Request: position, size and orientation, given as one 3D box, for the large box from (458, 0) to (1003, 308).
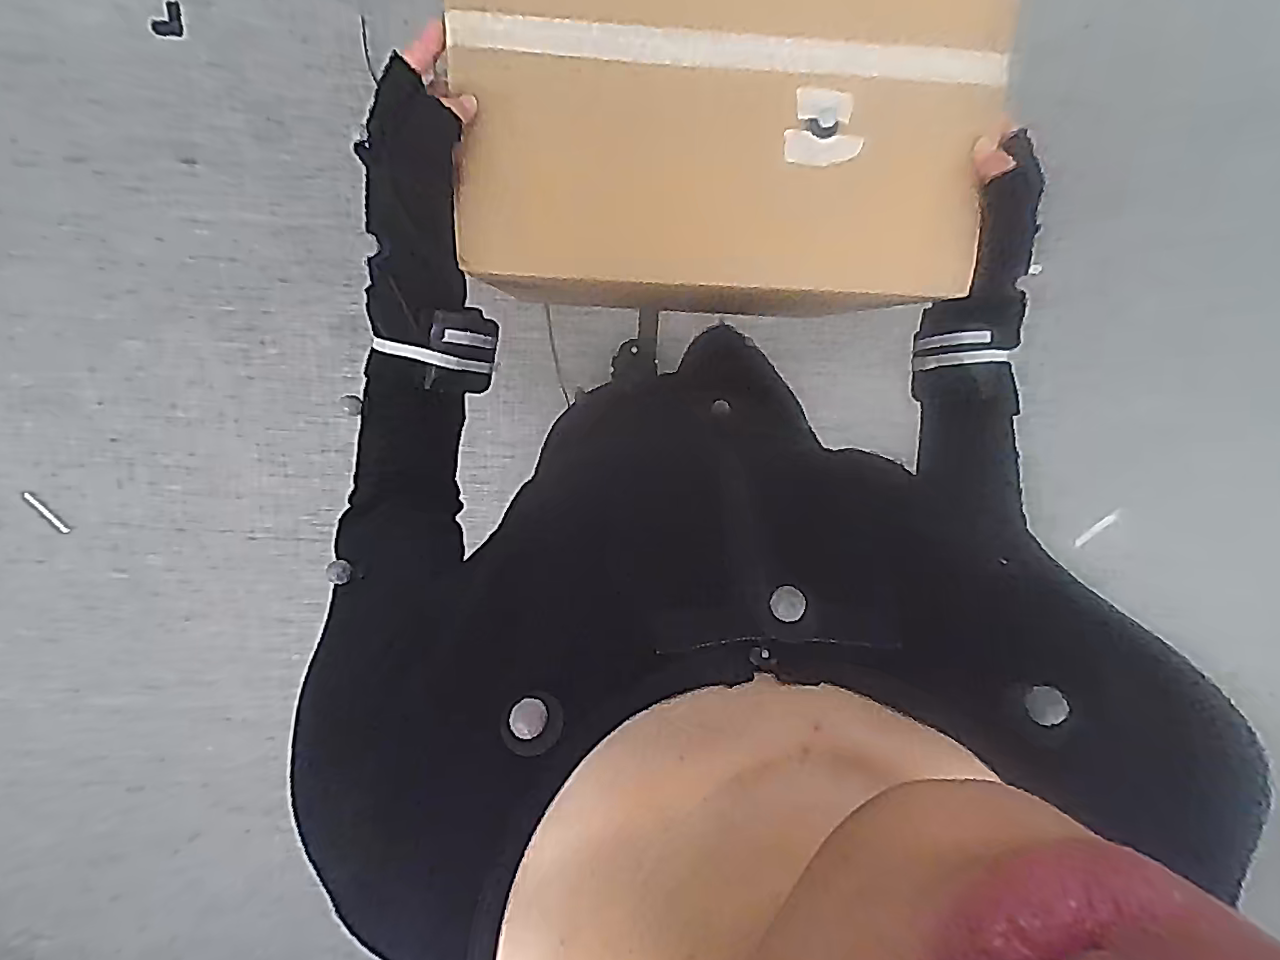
[{"bbox_3d":[0.057,-0.350,0.540,0.408,0.320,0.320,1,103,-5],"label":"large box"}]
